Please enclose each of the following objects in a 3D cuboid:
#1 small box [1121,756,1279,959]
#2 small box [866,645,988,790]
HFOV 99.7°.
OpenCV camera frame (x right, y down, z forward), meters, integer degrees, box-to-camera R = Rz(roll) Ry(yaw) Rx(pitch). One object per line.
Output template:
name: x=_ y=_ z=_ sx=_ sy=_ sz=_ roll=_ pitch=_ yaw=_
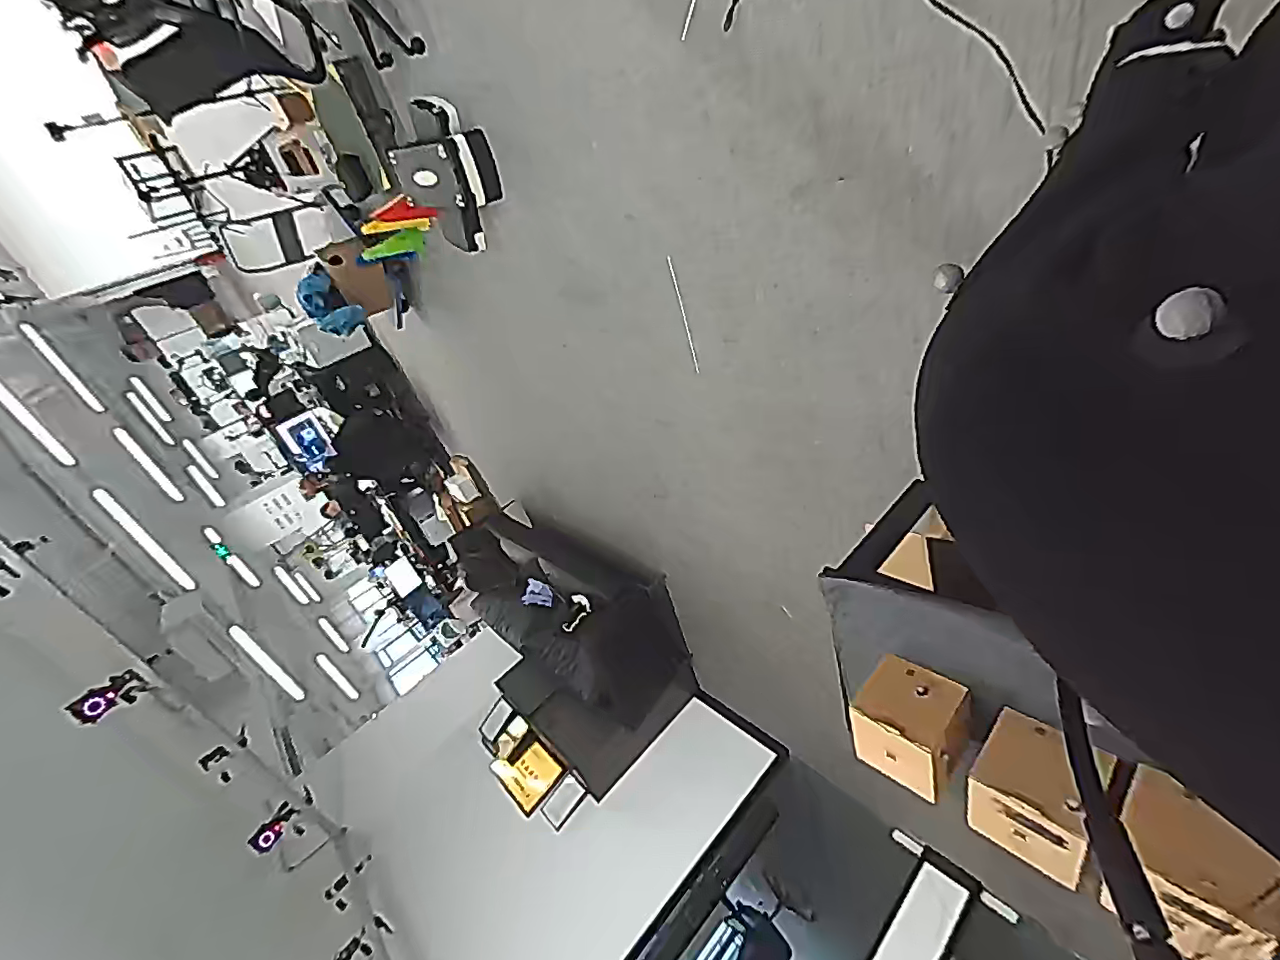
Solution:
small box: x=0.850 y=0.555 z=0.799 sx=0.168 sy=0.176 sz=0.179 roll=17 pitch=138 yaw=50
small box: x=0.595 y=0.480 z=1.114 sx=0.168 sy=0.176 sz=0.179 roll=17 pitch=137 yaw=49
